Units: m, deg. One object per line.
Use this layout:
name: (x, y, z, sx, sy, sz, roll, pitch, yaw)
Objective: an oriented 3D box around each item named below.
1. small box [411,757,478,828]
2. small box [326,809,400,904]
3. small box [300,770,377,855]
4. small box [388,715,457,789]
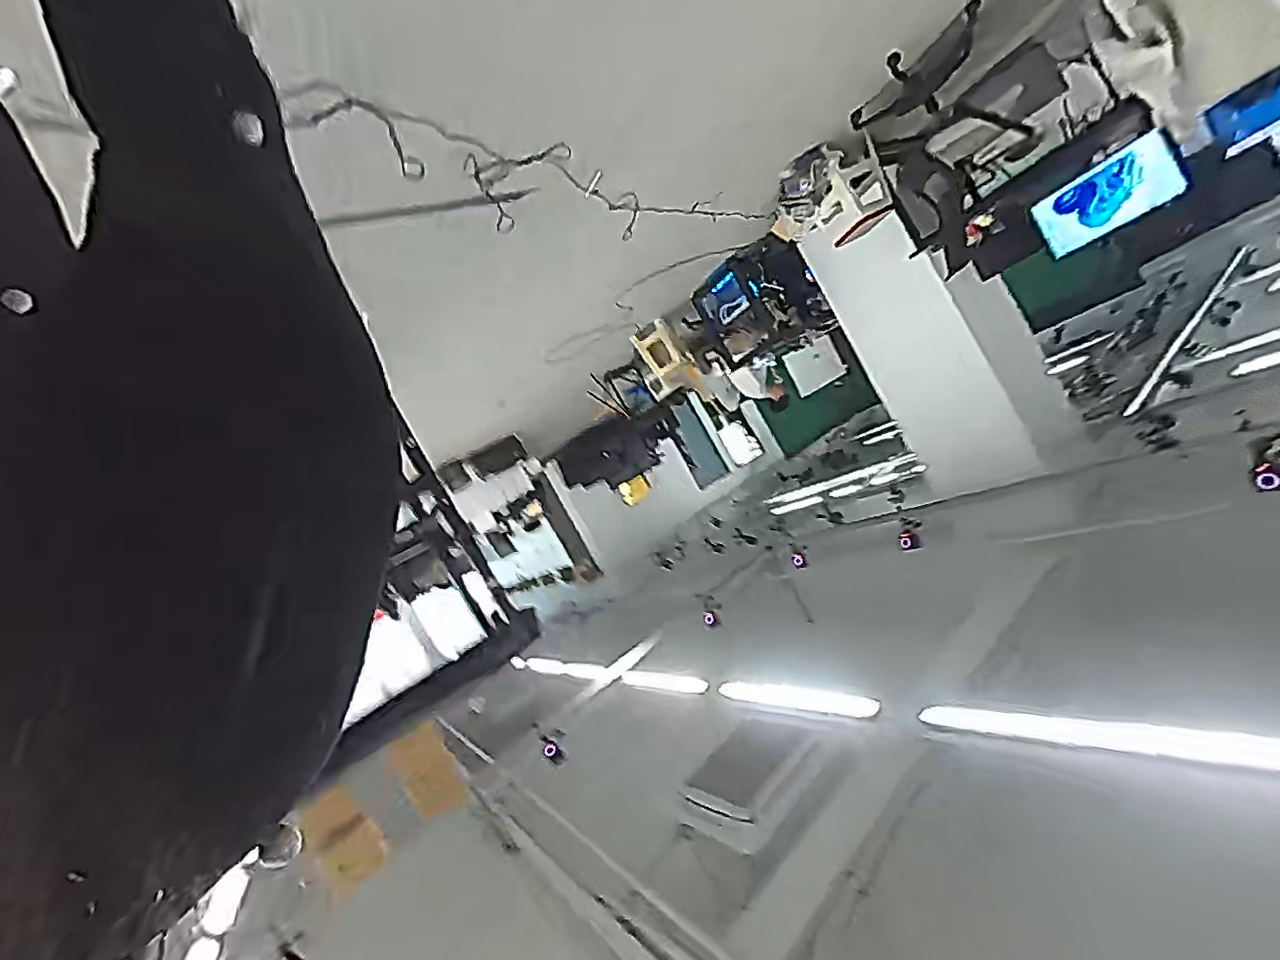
small box: (-0.729, 1.135, 1.999, 0.168, 0.176, 0.179, -30, -178, -33)
small box: (-0.930, 1.252, 1.812, 0.168, 0.176, 0.179, -30, -179, -30)
small box: (-1.027, 1.120, 1.835, 0.168, 0.176, 0.179, -31, -177, -37)
small box: (-0.807, 0.991, 1.992, 0.168, 0.176, 0.179, -31, -177, -34)
